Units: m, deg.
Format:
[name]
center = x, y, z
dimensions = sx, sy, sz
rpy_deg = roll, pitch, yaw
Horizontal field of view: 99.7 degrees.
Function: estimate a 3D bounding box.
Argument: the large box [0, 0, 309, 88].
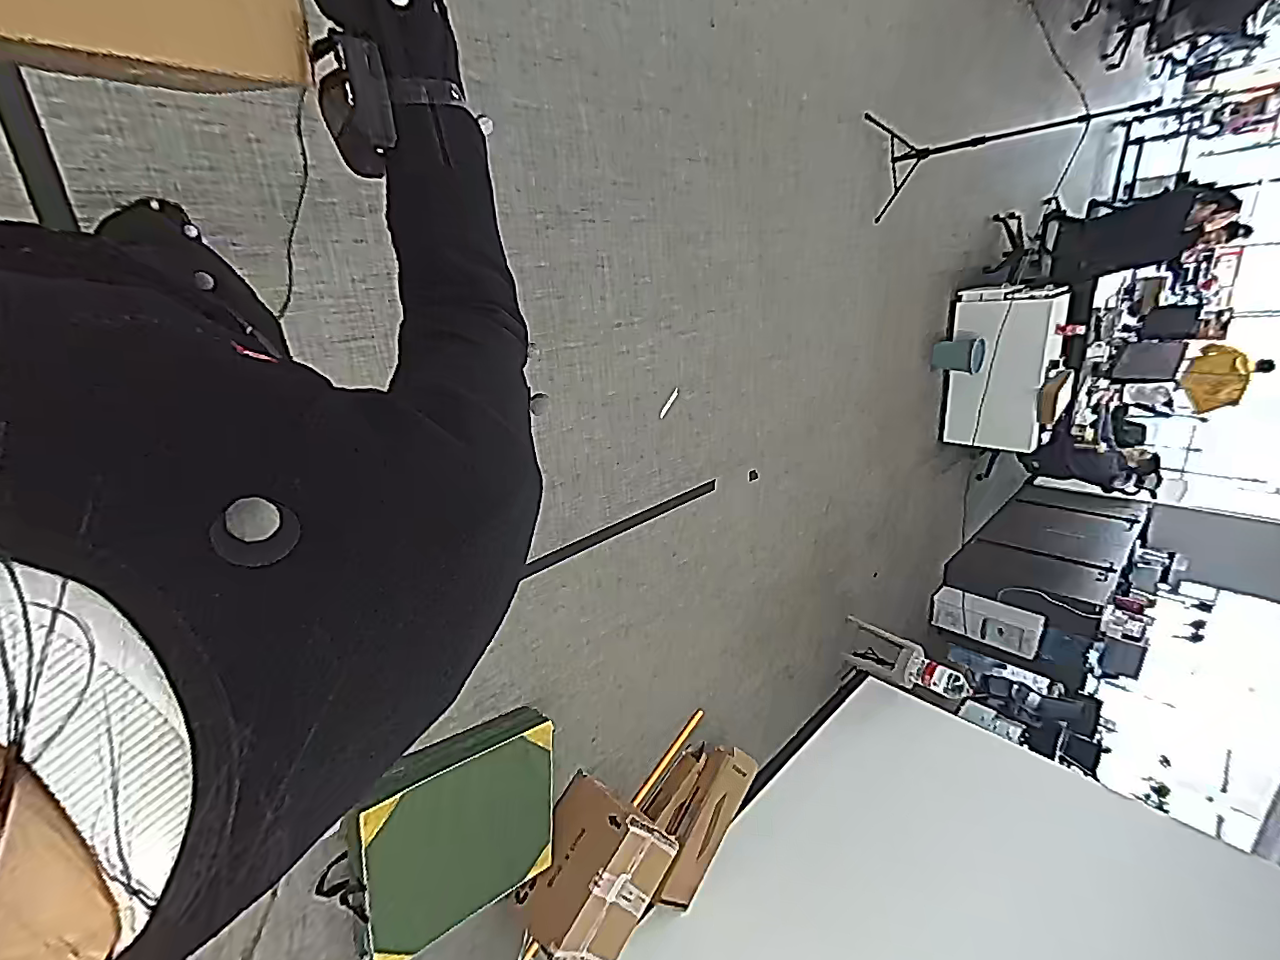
[large box]
center = -0.445, -0.394, 0.241
dimensions = 0.408, 0.320, 0.320
rpy_deg = -21, 130, -39
